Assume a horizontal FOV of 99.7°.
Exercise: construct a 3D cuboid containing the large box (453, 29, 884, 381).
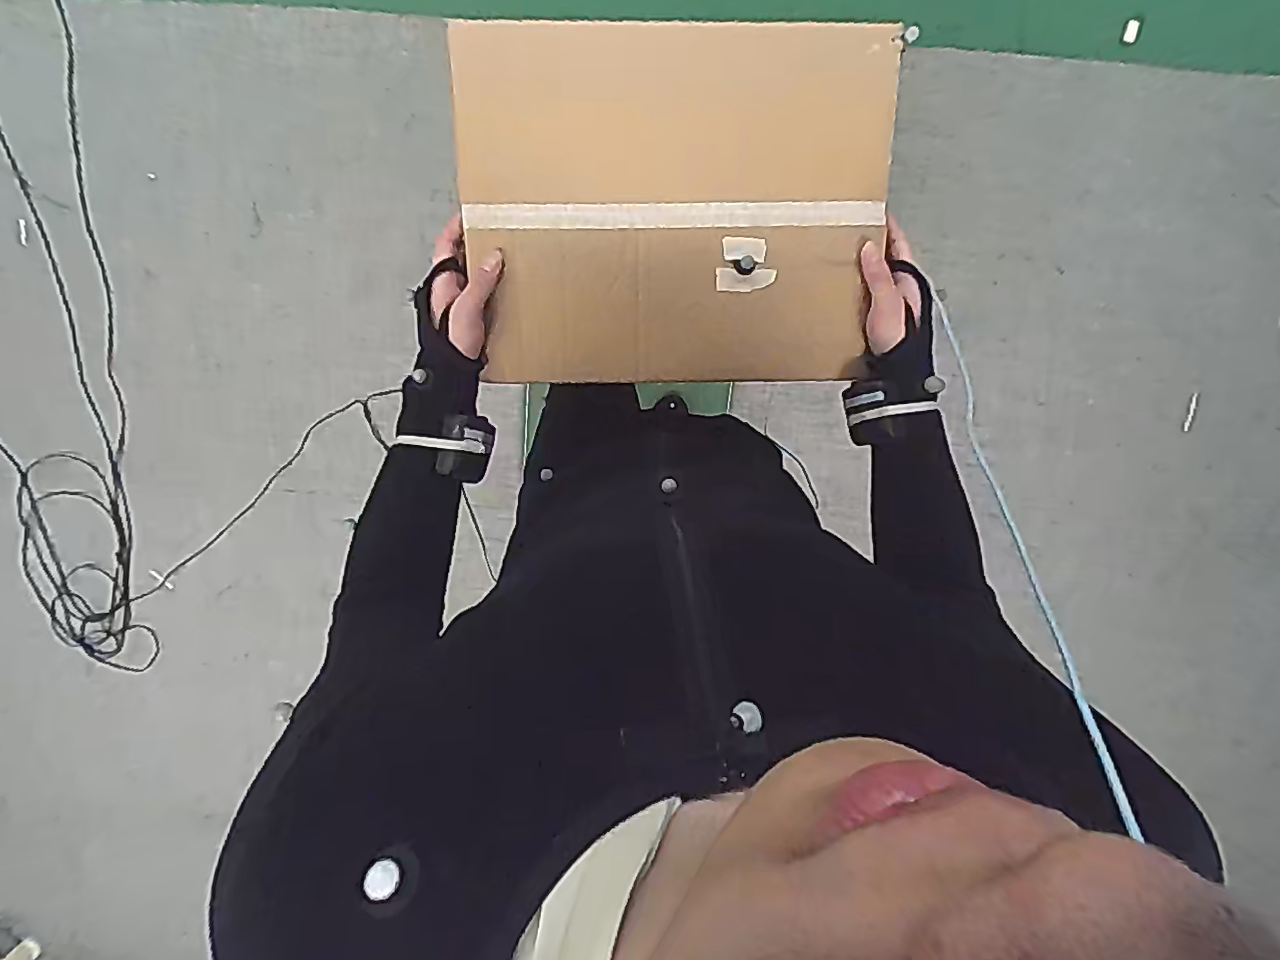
[{"bbox_3d":[0.025,-0.294,0.672,0.408,0.320,0.320,-1,105,-2],"label":"large box"}]
